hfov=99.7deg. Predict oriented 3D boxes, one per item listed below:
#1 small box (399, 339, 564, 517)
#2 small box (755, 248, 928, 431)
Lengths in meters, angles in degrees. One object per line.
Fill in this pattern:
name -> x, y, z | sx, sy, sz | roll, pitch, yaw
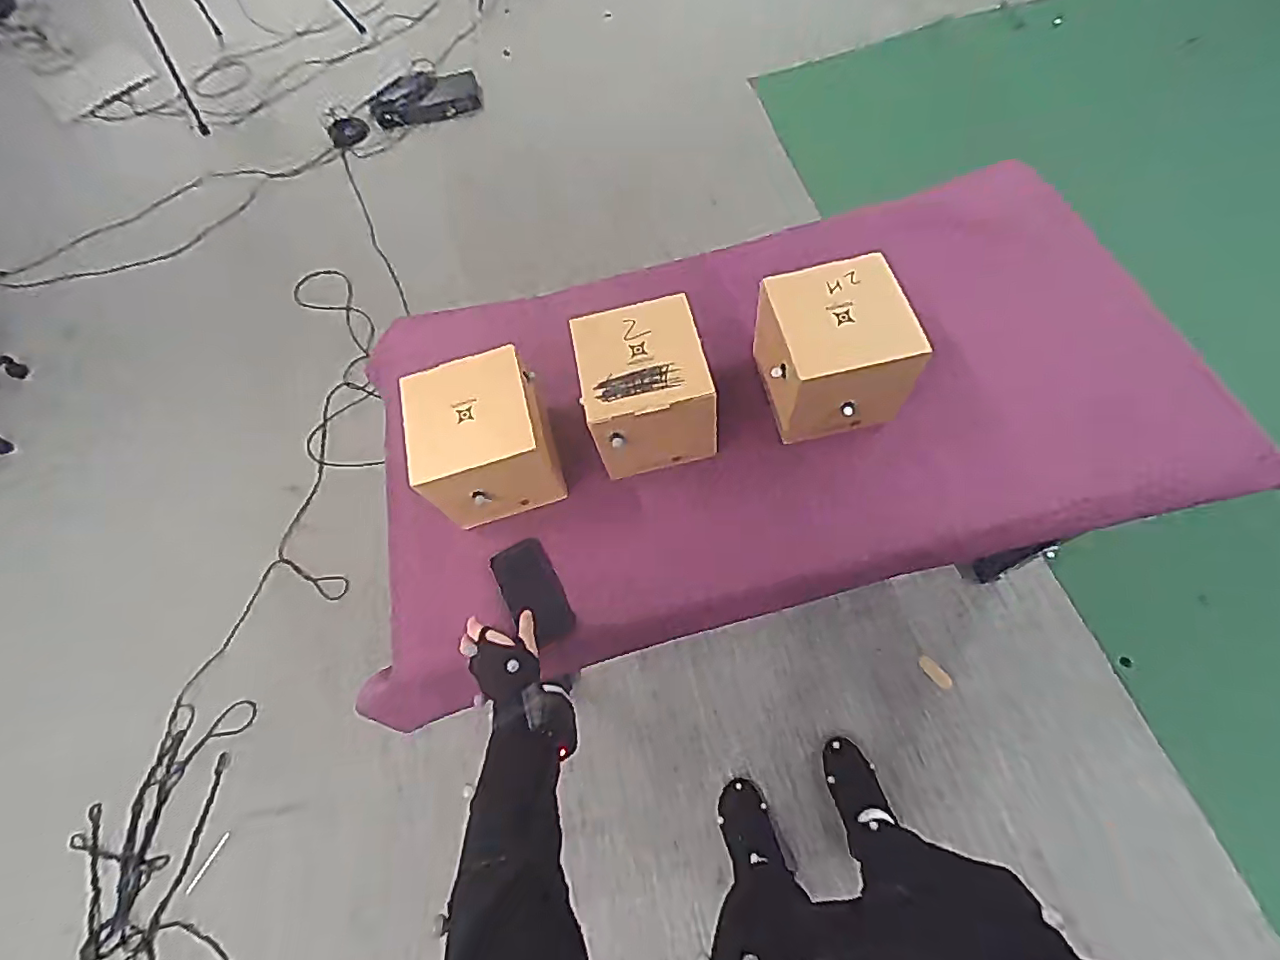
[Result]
small box -> -0.218, -0.061, 0.772 | 0.168, 0.176, 0.179 | -18, 63, 0
small box -> 0.266, -0.185, 0.762 | 0.168, 0.176, 0.179 | -12, 64, 2
